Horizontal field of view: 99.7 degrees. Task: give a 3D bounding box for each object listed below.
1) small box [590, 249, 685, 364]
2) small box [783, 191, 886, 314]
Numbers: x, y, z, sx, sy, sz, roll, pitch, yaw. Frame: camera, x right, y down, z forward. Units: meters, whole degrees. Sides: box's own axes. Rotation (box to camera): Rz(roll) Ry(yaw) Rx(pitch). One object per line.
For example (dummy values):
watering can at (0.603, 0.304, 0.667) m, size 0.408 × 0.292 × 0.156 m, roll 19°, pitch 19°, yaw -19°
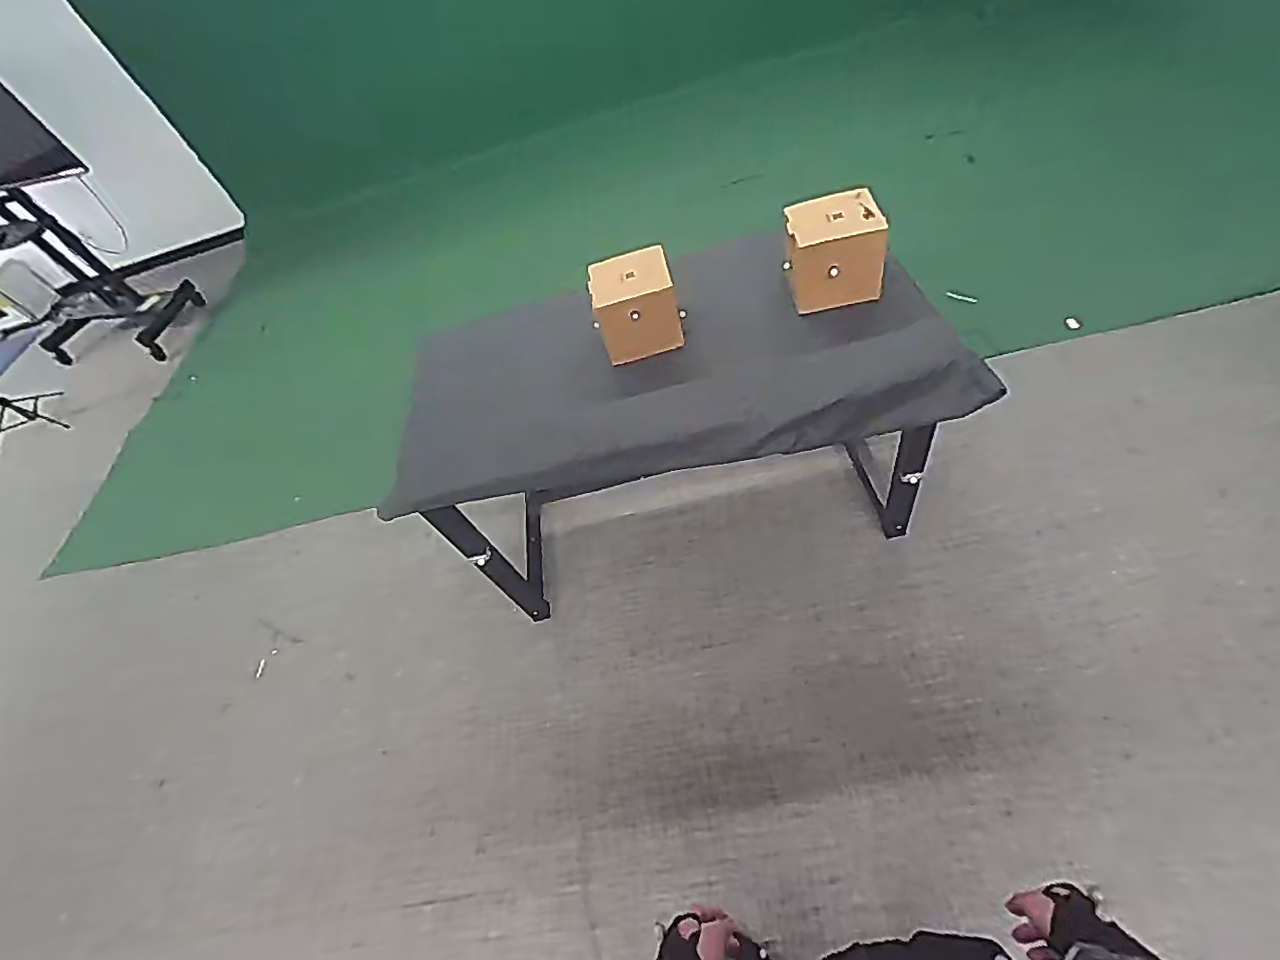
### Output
small box at (-0.004, -0.390, 1.238) m, size 0.179 × 0.176 × 0.168 m, roll -13°, pitch 53°, yaw 5°
small box at (0.417, -0.488, 1.178) m, size 0.179 × 0.176 × 0.168 m, roll -10°, pitch 53°, yaw 11°
